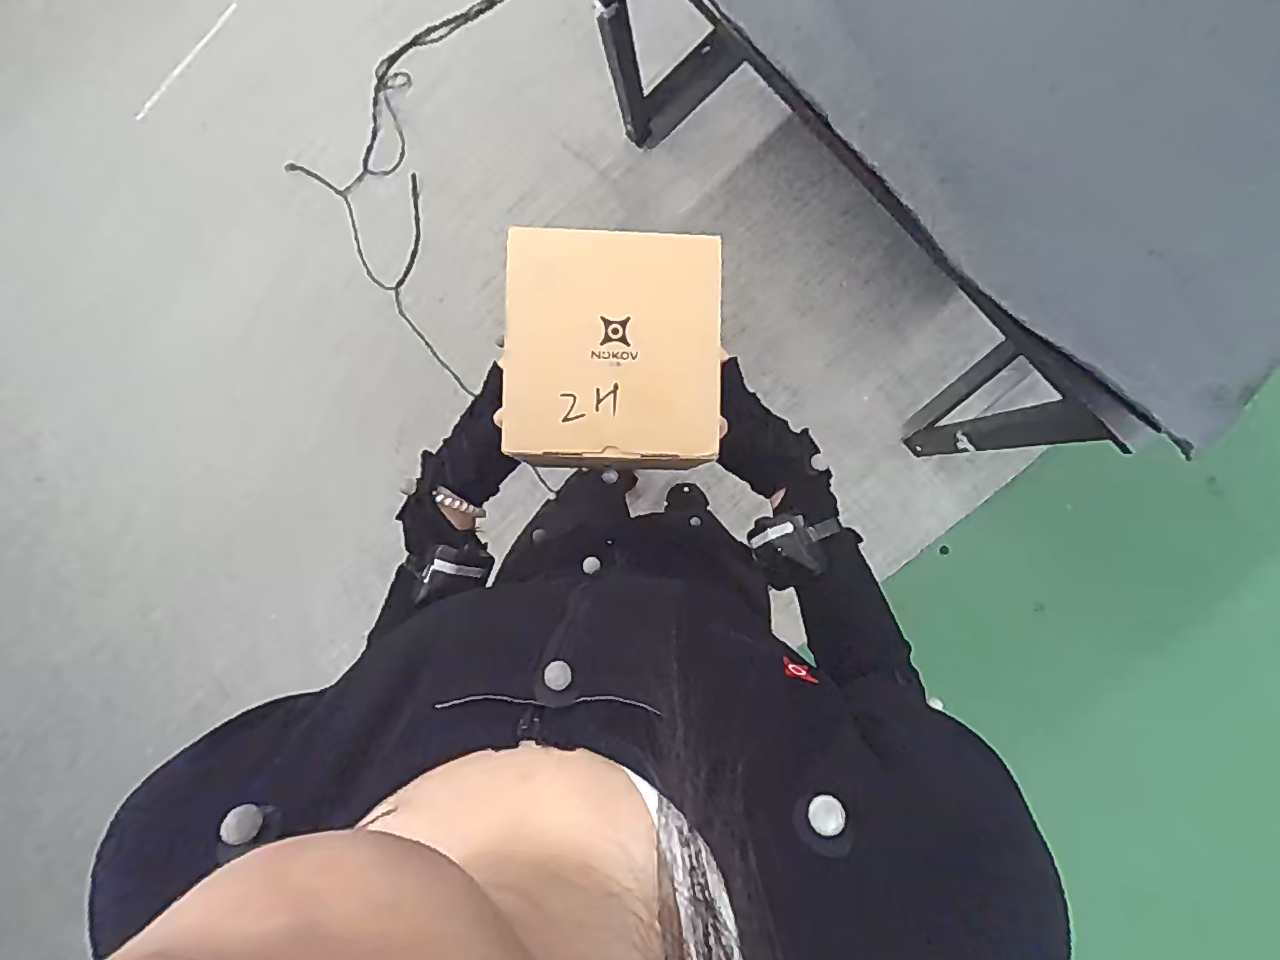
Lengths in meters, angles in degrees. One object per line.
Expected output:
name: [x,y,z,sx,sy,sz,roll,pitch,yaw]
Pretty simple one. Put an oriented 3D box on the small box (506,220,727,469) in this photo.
small box: [-0.021,-0.105,0.491,0.168,0.176,0.179,2,88,-3]
